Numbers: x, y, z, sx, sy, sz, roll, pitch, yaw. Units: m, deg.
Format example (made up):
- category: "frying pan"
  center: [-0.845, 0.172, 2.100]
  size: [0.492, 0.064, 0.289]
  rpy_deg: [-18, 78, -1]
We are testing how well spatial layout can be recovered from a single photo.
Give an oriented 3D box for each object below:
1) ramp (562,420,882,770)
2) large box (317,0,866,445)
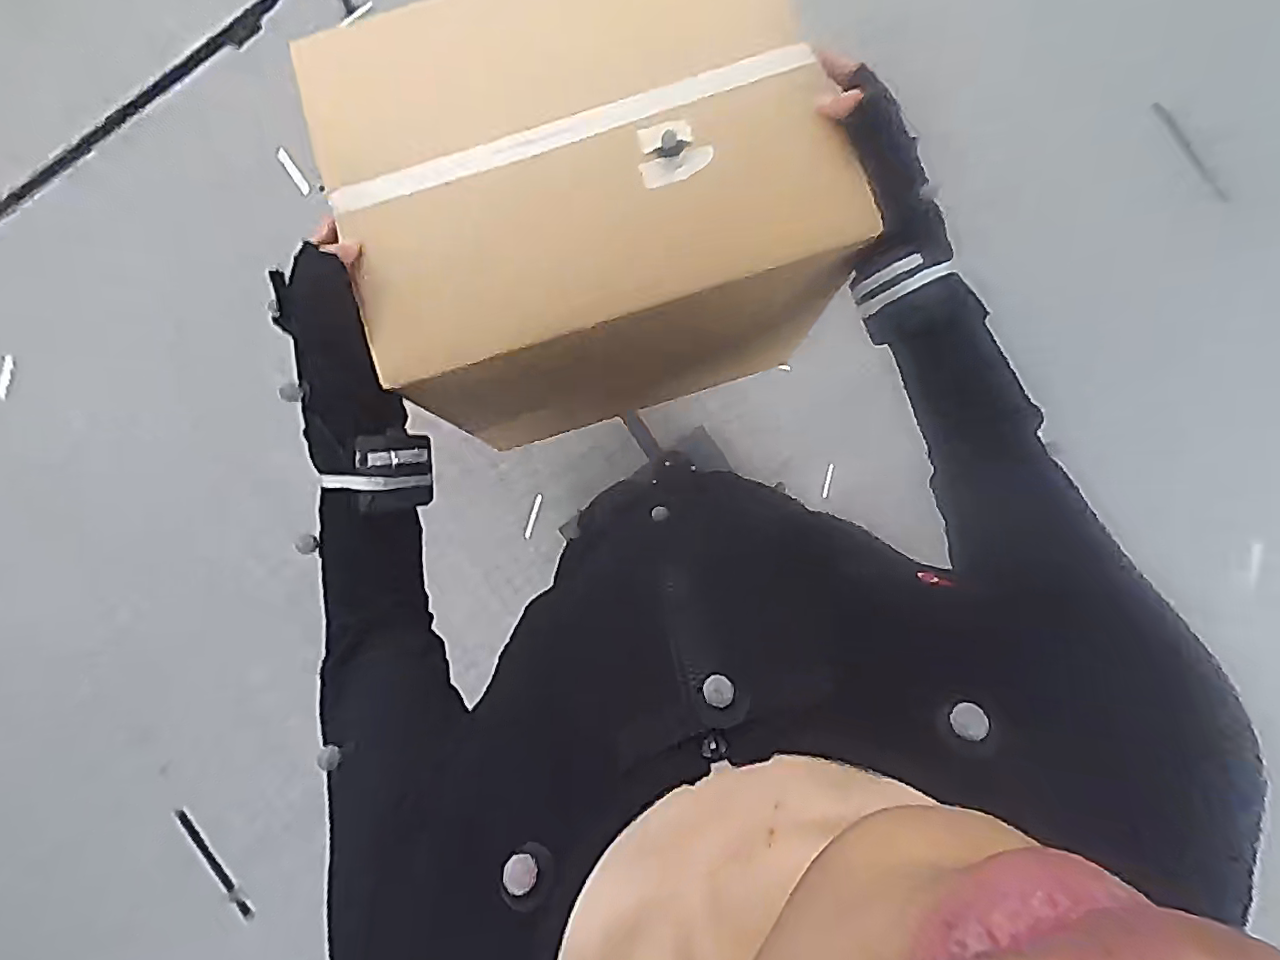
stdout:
- category: "ramp"
  center: [0.266, 0.361, 1.573]
  size: [0.509, 0.206, 0.991]
  rpy_deg: [-38, 91, 0]
- category: "large box"
  center: [-0.046, -0.265, 0.598]
  size: [0.408, 0.320, 0.320]
  rpy_deg: [-17, 84, 0]
